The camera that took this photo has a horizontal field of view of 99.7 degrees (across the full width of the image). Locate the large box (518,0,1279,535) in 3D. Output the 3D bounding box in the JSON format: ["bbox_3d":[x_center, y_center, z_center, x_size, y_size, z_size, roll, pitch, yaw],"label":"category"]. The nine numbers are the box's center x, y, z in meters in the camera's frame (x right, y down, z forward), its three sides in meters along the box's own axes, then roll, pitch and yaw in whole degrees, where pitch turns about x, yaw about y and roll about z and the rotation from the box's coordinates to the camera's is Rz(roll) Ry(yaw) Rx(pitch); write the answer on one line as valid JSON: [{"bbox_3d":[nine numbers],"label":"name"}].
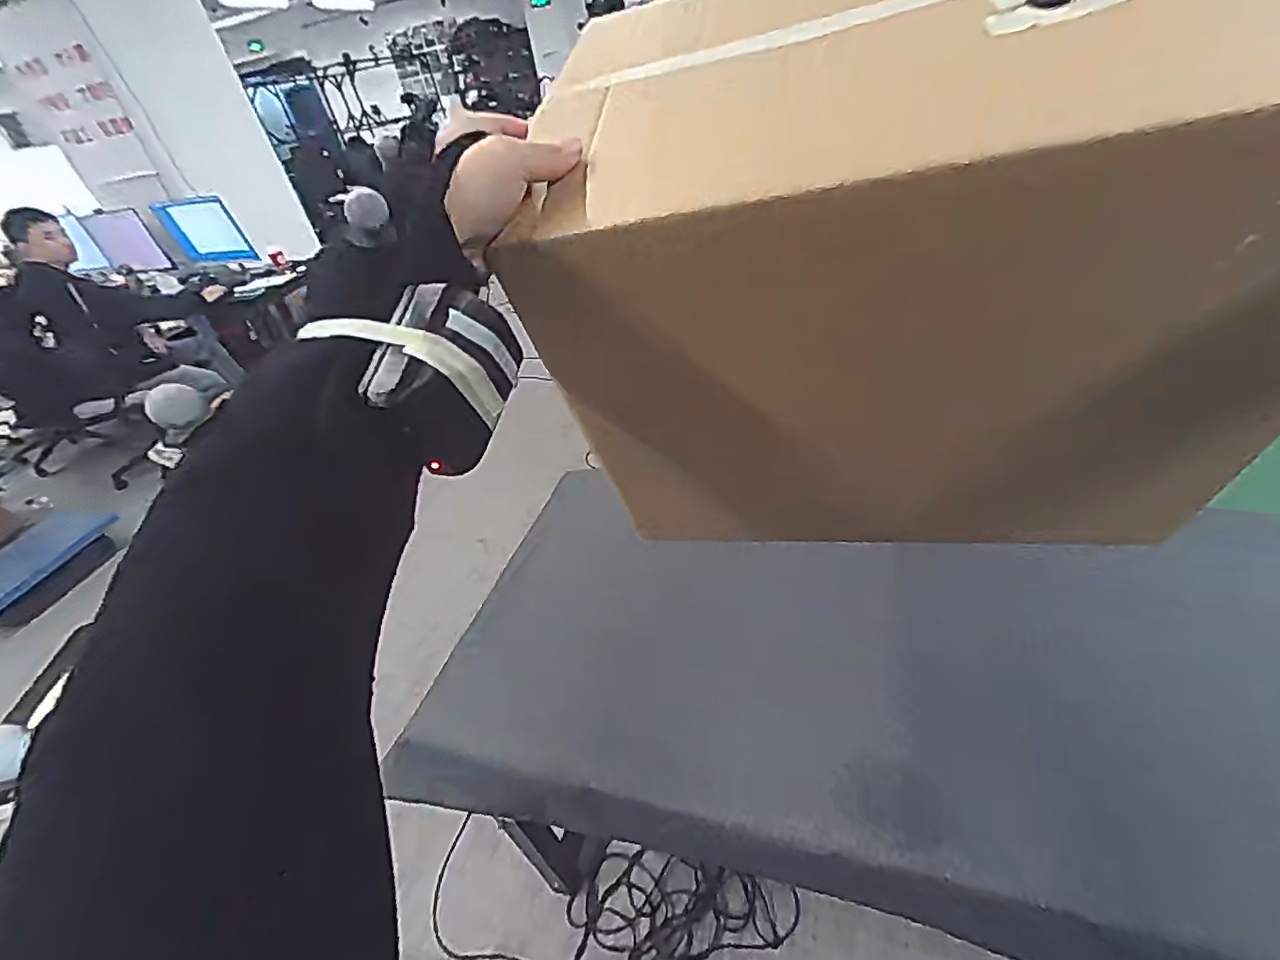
[{"bbox_3d":[0.180,-0.162,0.417,0.408,0.320,0.320,-1,56,16],"label":"large box"}]
